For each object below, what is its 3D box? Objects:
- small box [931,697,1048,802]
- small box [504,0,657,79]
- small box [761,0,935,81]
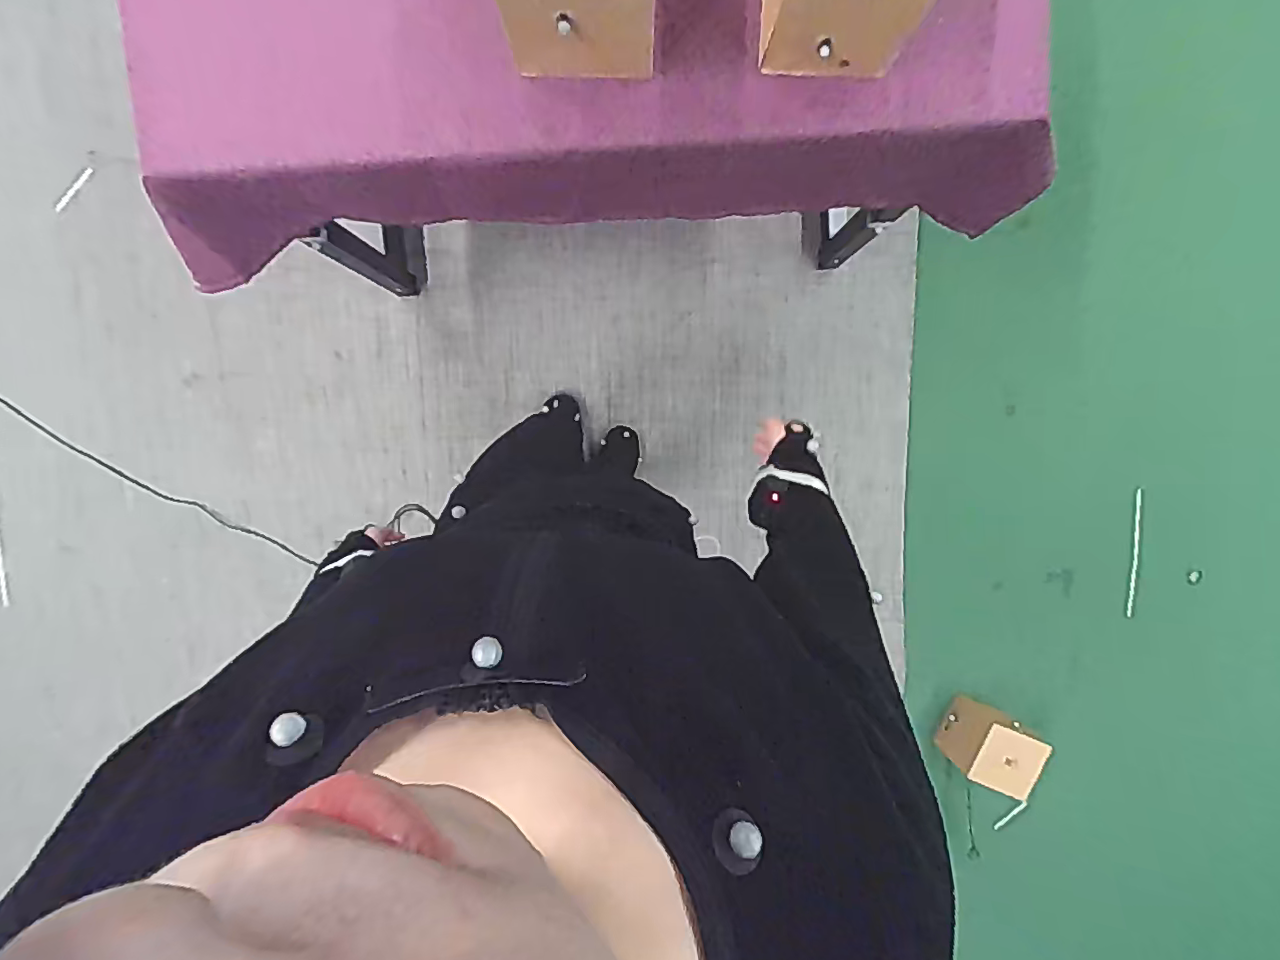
[{"bbox_3d":[0.953,0.732,1.489,0.179,0.176,0.168,24,94,-3],"label":"small box"},{"bbox_3d":[-0.068,-0.604,0.627,0.179,0.176,0.168,1,95,0],"label":"small box"},{"bbox_3d":[0.243,-0.615,0.631,0.168,0.176,0.179,2,96,-1],"label":"small box"}]
